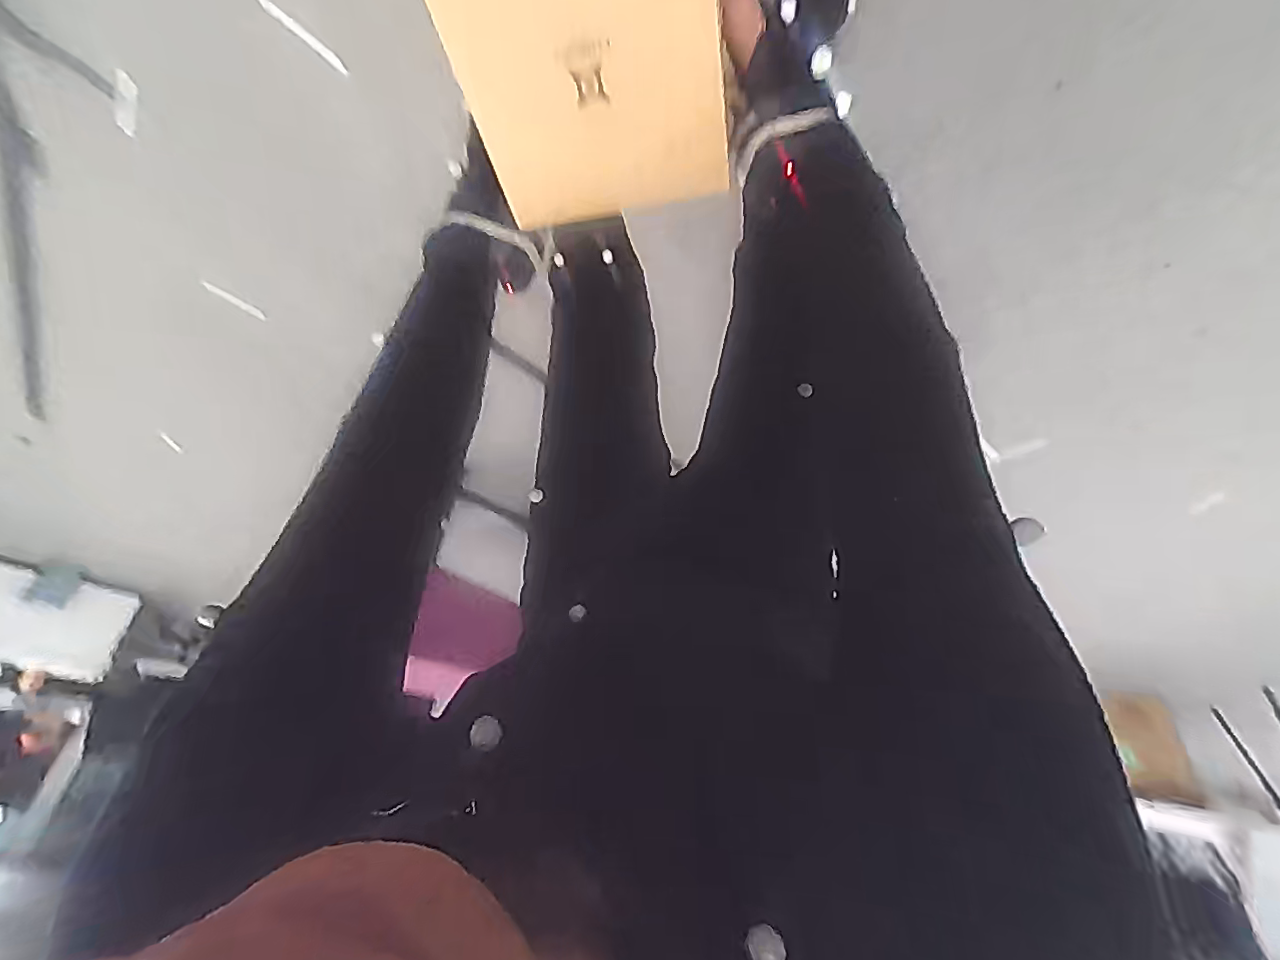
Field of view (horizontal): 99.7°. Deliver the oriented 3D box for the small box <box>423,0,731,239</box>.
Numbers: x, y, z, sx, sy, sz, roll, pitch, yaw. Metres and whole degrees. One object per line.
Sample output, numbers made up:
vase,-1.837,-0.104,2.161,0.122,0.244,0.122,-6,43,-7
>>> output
small box,-0.024,-0.305,0.377,0.168,0.176,0.179,-4,144,12
